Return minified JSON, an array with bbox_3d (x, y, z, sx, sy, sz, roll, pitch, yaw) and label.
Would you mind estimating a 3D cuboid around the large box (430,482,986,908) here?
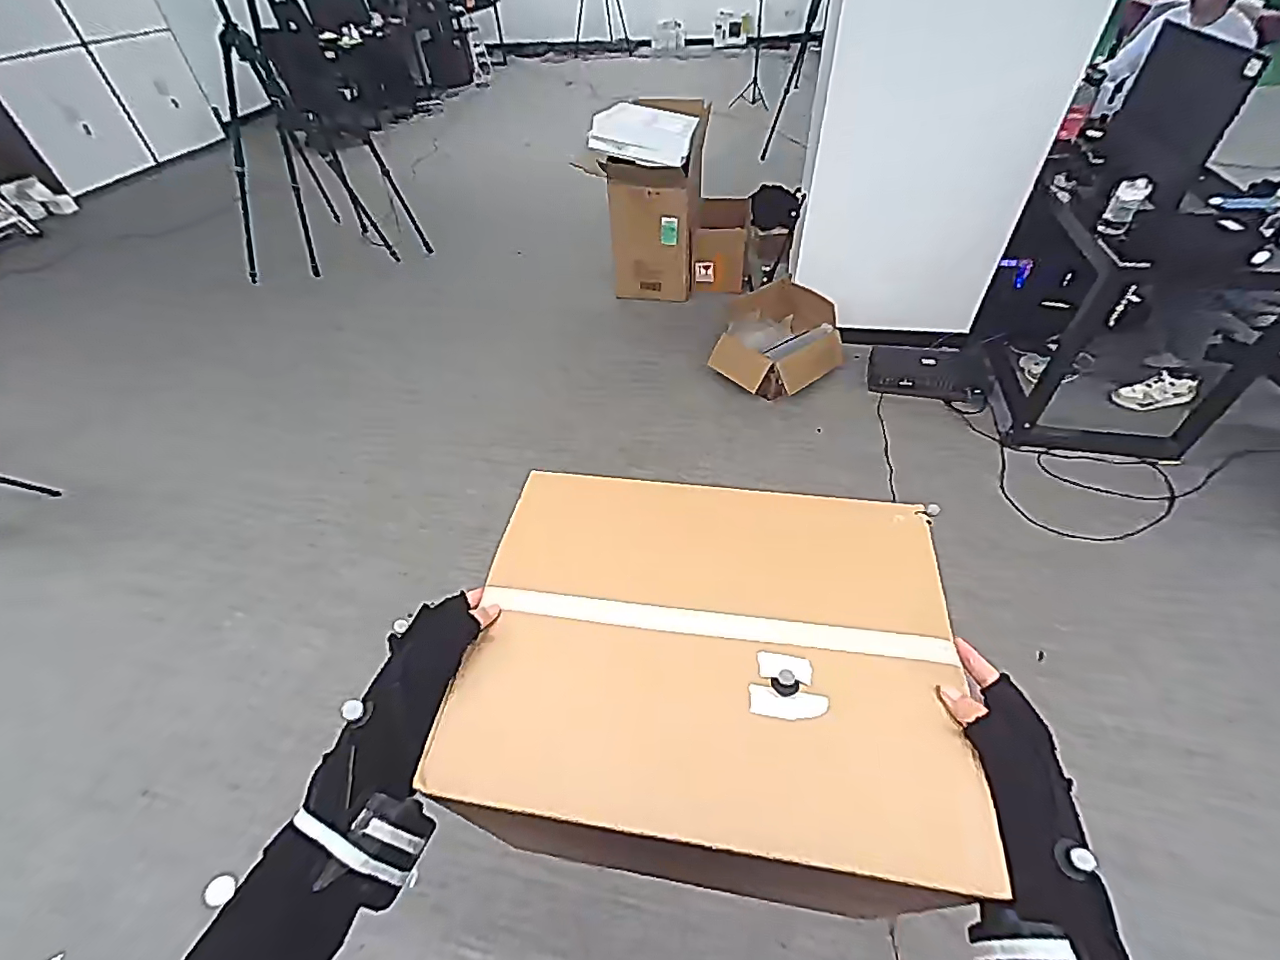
[{"bbox_3d":[0.062,0.228,0.588,0.408,0.320,0.320,5,49,8],"label":"large box"}]
